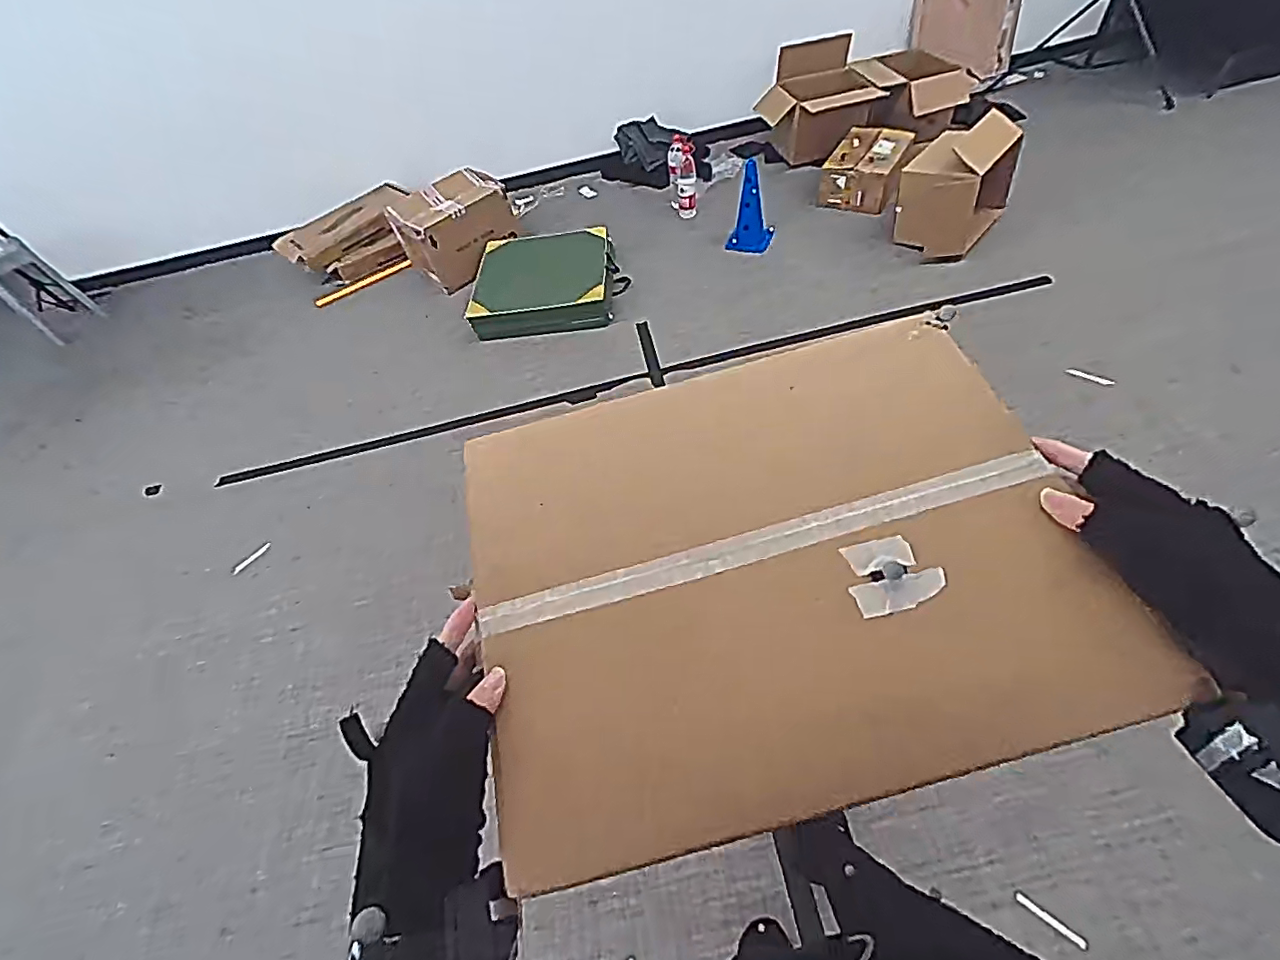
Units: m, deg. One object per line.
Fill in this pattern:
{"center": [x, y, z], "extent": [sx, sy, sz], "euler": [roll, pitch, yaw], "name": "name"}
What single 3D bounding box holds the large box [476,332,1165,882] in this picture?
{"center": [0.103, 0.124, 0.517], "extent": [0.408, 0.320, 0.320], "euler": [-16, 60, -2], "name": "large box"}
